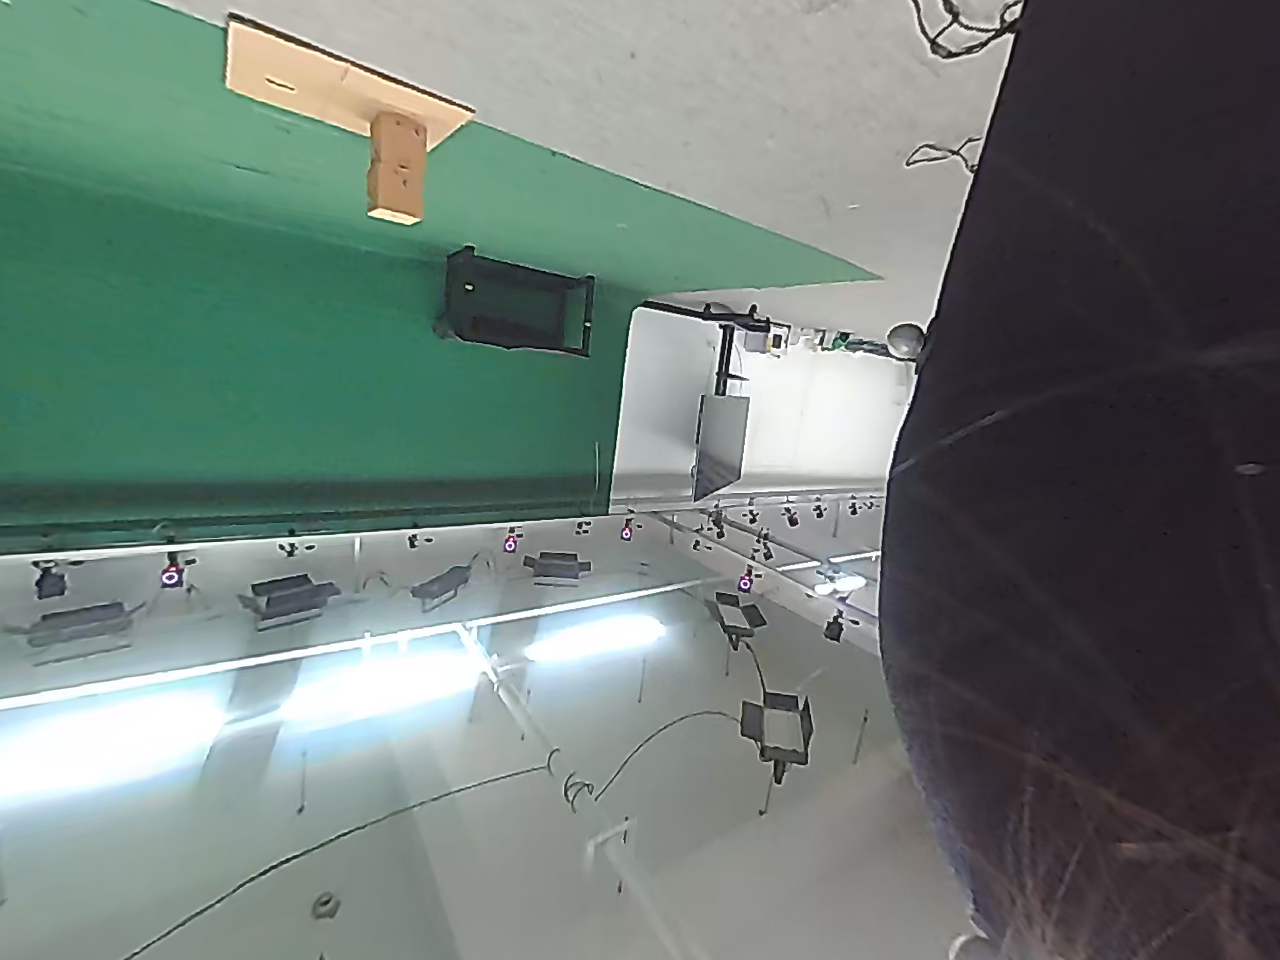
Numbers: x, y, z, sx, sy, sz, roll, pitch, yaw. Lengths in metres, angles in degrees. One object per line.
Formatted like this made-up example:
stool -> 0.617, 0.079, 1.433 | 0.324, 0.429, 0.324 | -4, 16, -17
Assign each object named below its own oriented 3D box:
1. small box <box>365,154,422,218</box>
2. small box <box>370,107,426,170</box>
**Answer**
small box -> -0.967, -1.150, 2.125 | 0.168, 0.176, 0.179 | -3, -165, -40
small box -> -0.936, -1.305, 2.085 | 0.168, 0.176, 0.179 | -3, -164, -39
